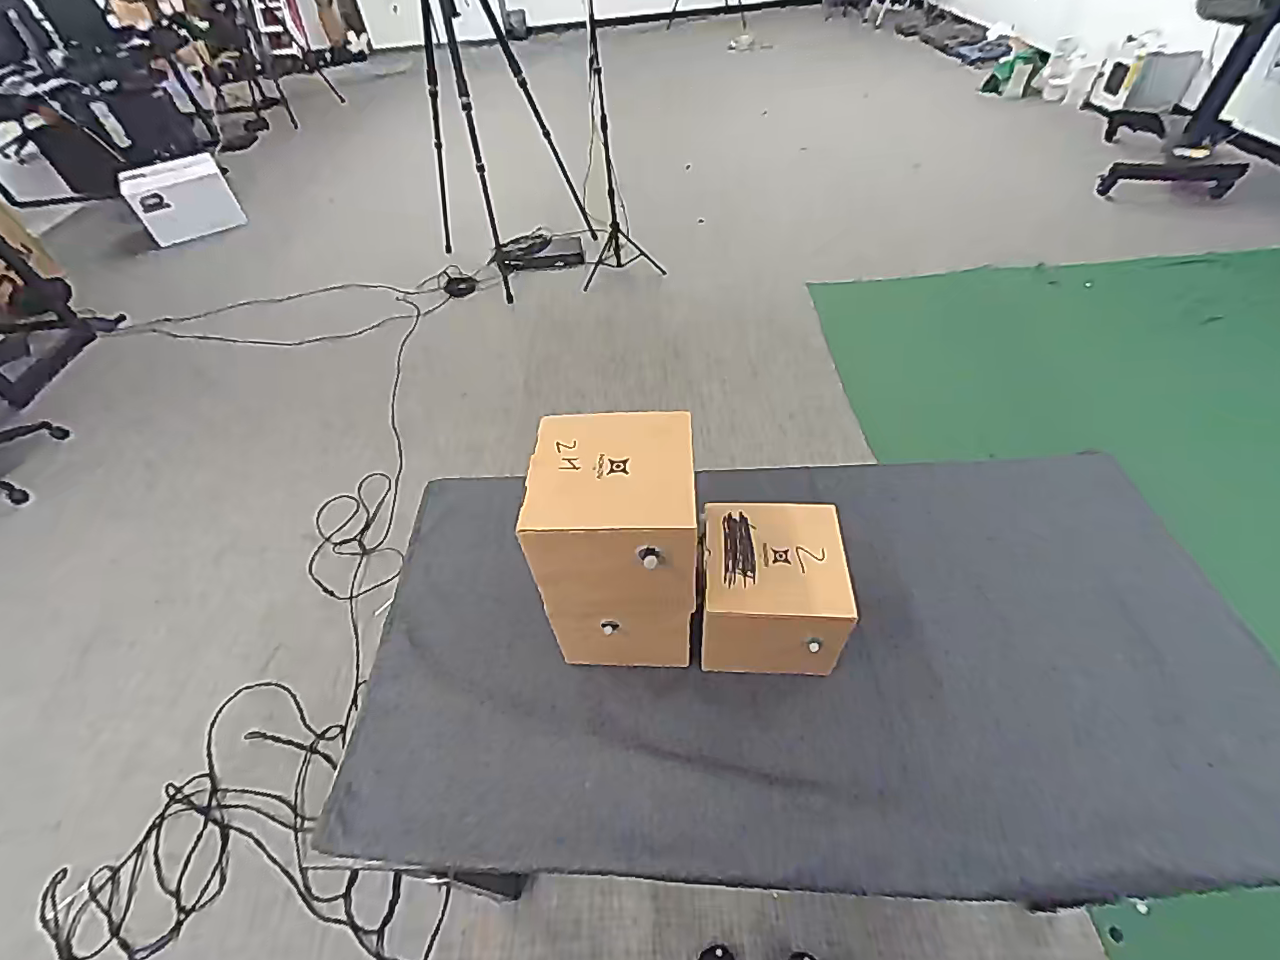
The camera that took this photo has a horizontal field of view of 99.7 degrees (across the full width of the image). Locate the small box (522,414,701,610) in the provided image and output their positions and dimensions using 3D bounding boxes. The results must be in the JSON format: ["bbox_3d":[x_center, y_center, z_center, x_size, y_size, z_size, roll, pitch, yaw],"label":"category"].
[{"bbox_3d":[-0.023,0.040,0.634,0.179,0.176,0.168,-1,48,4],"label":"small box"}]
